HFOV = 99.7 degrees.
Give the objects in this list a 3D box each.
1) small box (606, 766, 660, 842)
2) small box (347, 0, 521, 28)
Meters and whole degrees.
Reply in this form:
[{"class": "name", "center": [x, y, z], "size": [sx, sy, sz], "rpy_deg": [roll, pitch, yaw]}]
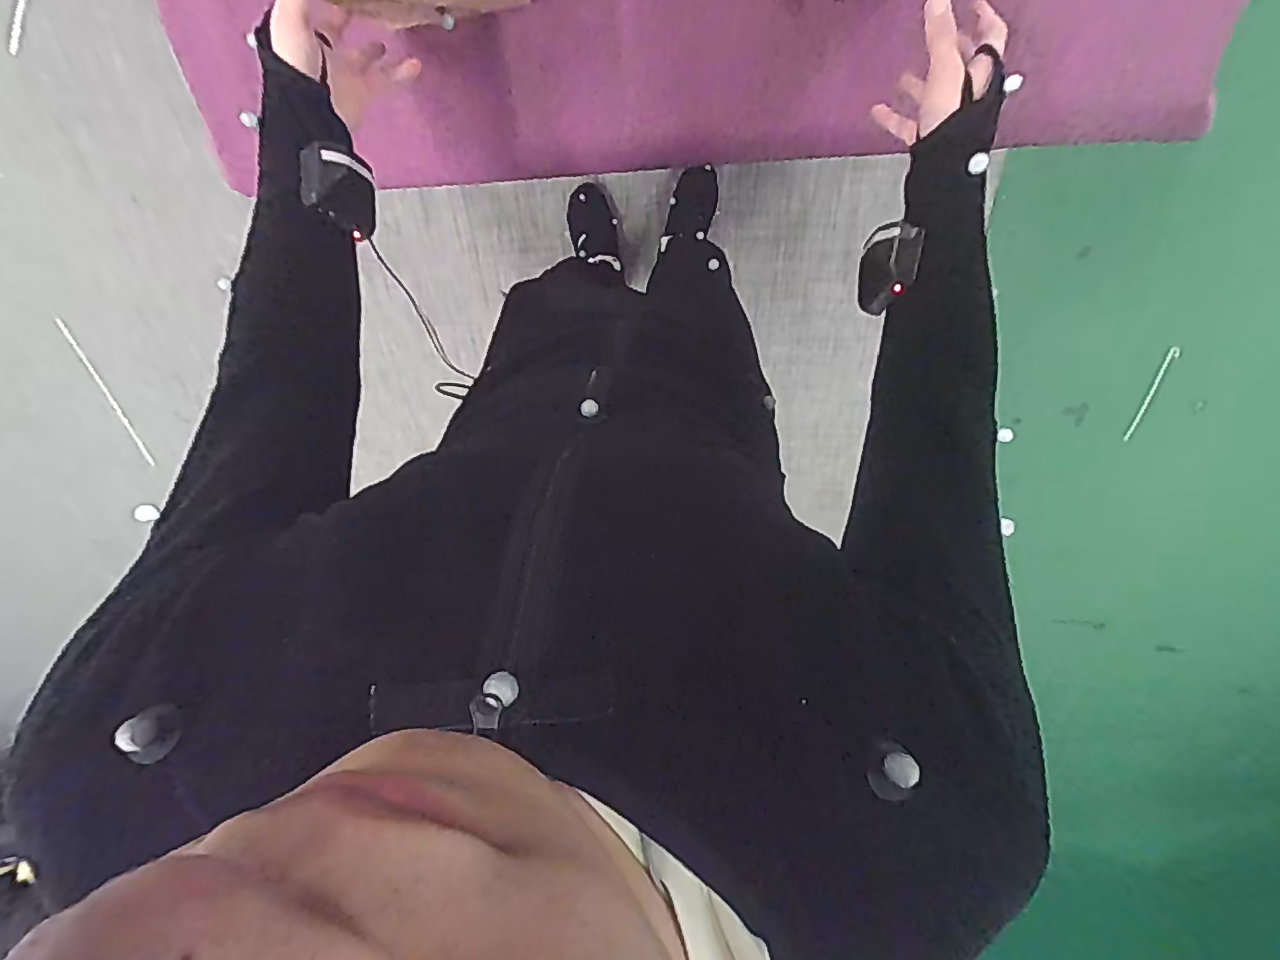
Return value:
[{"class": "small box", "center": [-0.028, 1.090, 1.825], "size": [0.168, 0.176, 0.179], "rpy_deg": [4, 124, -3]}, {"class": "small box", "center": [-0.214, -0.538, 0.481], "size": [0.168, 0.176, 0.179], "rpy_deg": [-6, 122, 3]}]
